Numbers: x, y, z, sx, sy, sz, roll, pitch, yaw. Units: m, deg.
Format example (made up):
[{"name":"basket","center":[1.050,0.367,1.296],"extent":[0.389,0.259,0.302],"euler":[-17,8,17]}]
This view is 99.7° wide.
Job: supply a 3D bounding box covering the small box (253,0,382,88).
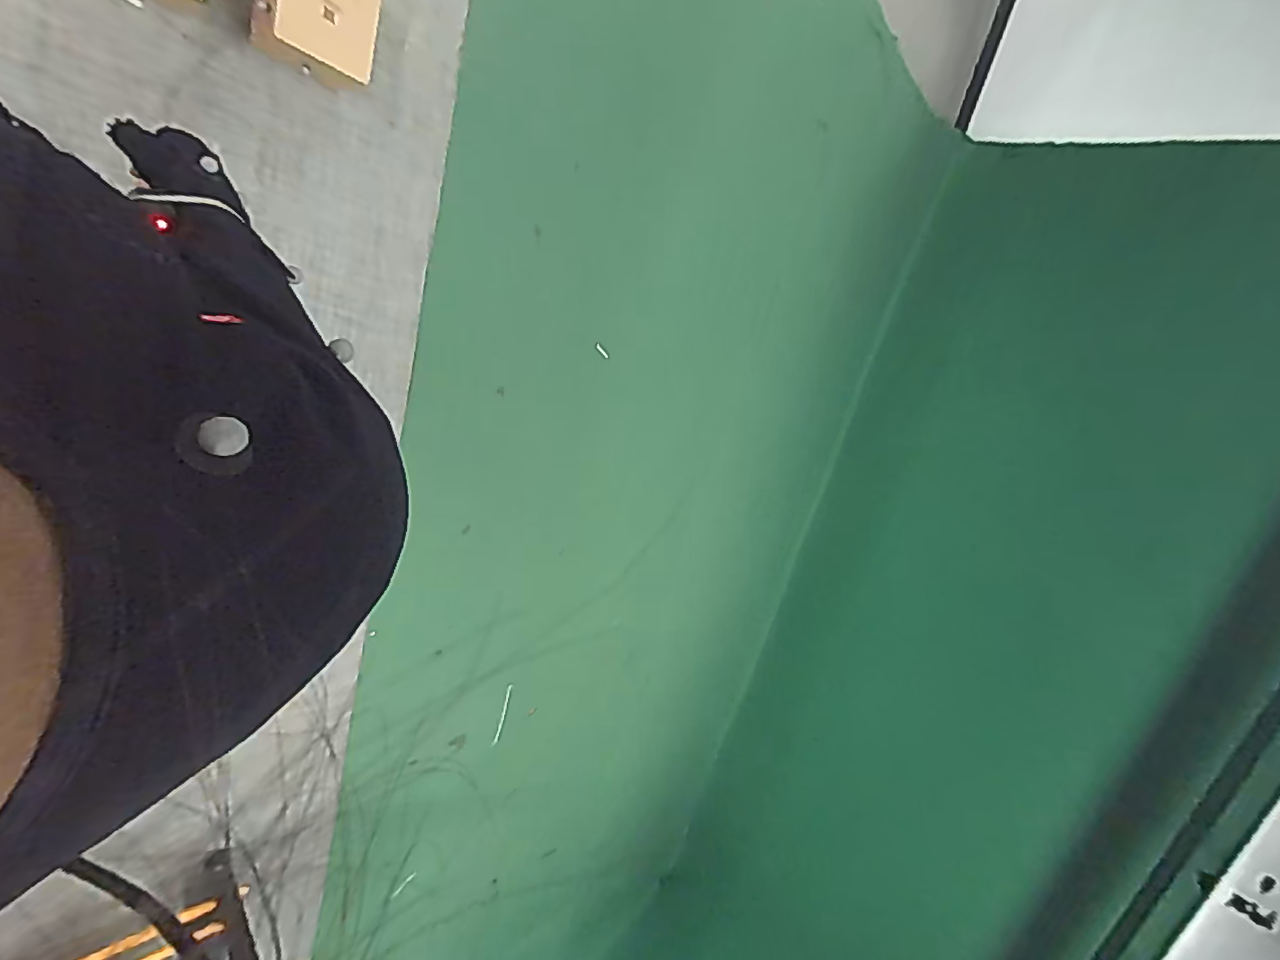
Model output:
[{"name":"small box","center":[-0.624,-0.891,1.041],"extent":[0.168,0.176,0.179],"euler":[0,112,-50]}]
